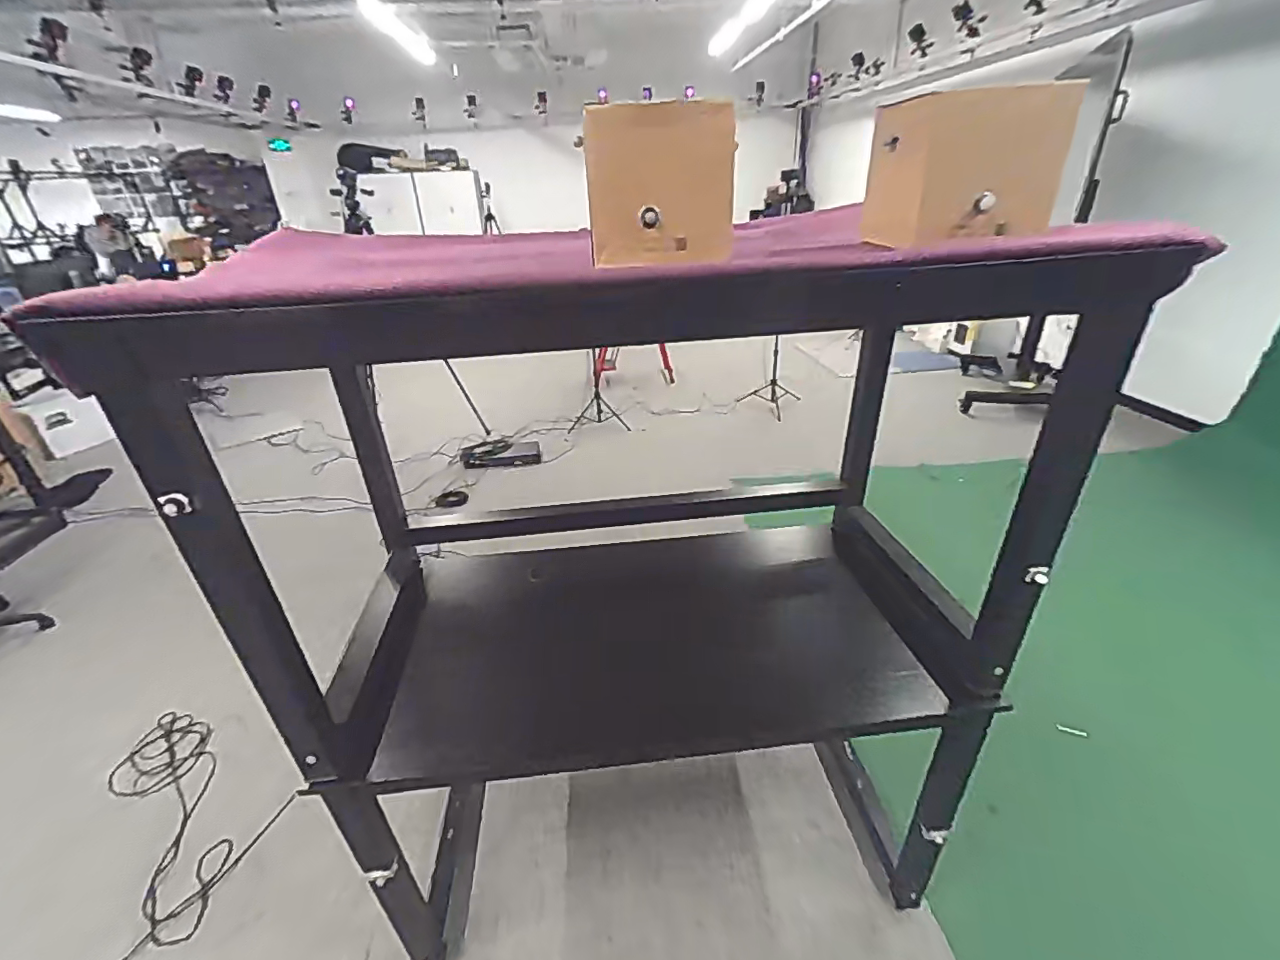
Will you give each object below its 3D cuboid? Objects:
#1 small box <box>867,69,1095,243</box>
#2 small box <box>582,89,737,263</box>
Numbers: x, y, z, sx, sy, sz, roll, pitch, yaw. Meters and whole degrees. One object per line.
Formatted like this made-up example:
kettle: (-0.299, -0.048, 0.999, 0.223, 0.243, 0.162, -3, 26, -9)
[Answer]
small box: (0.407, -0.401, 0.687, 0.168, 0.176, 0.179, -3, 30, 1)
small box: (0.022, -0.369, 0.674, 0.168, 0.176, 0.179, -3, 28, 0)
